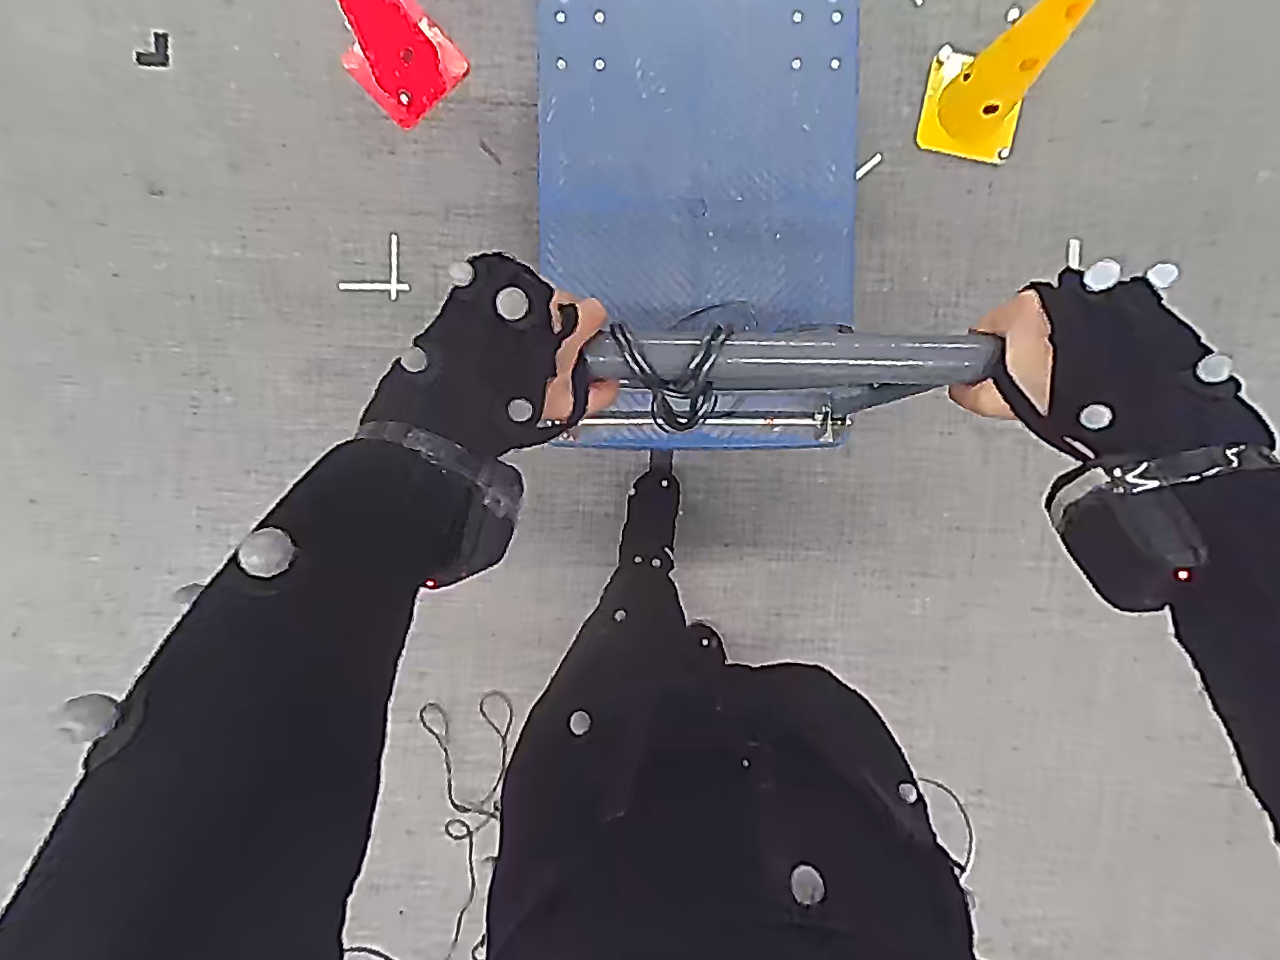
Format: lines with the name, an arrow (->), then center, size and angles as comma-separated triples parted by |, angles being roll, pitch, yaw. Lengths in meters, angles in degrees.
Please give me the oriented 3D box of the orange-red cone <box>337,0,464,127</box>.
orange-red cone -> -0.491, -0.861, 0.960 | 0.199, 0.360, 0.198 | -42, 93, 1
